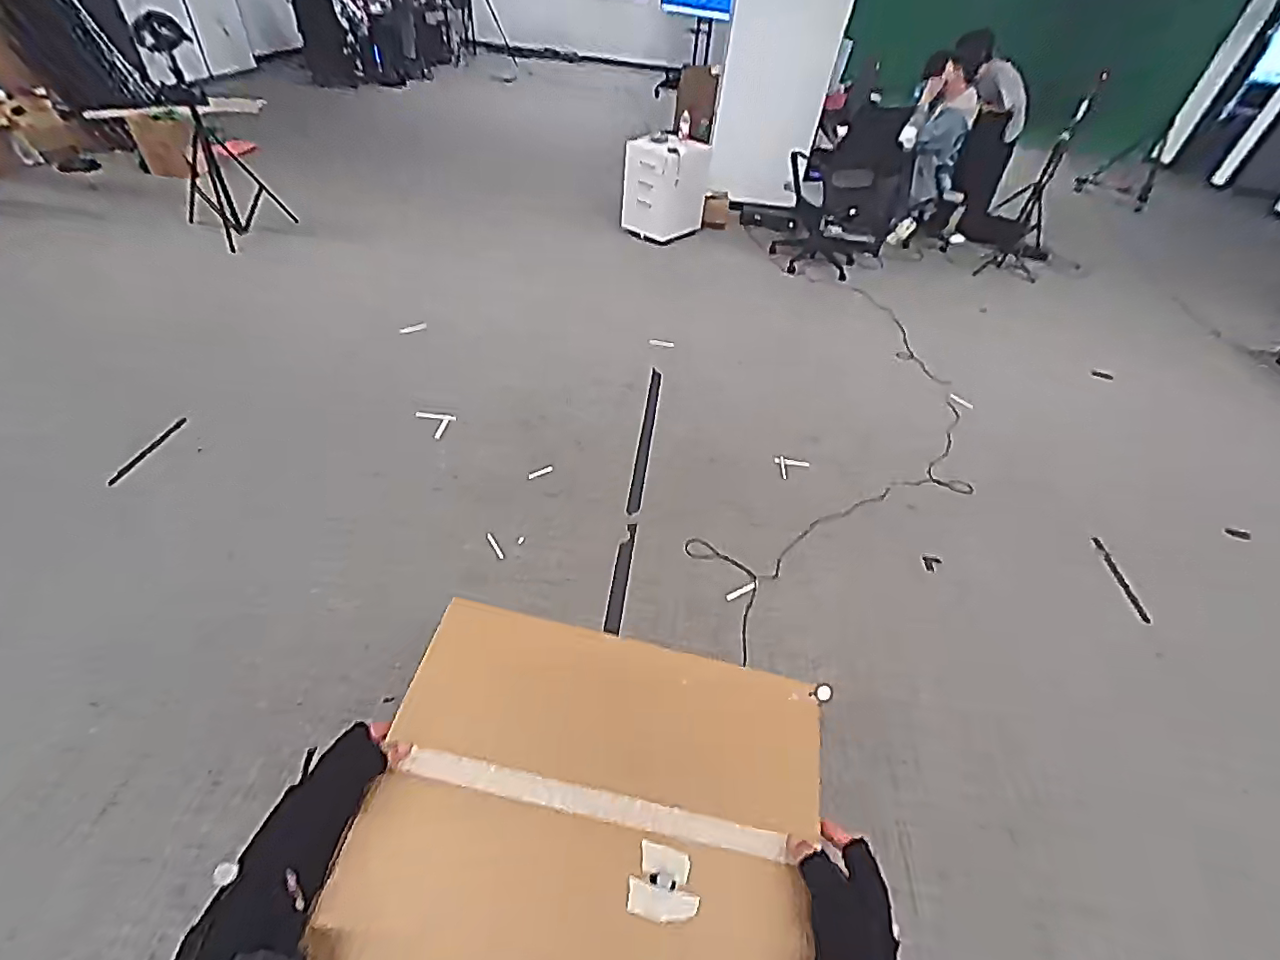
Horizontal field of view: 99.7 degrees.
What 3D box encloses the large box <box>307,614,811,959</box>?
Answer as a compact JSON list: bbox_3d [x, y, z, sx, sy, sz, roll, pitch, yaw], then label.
[{"bbox_3d":[-0.059,0.393,0.612,0.408,0.320,0.320,13,51,0],"label":"large box"}]
